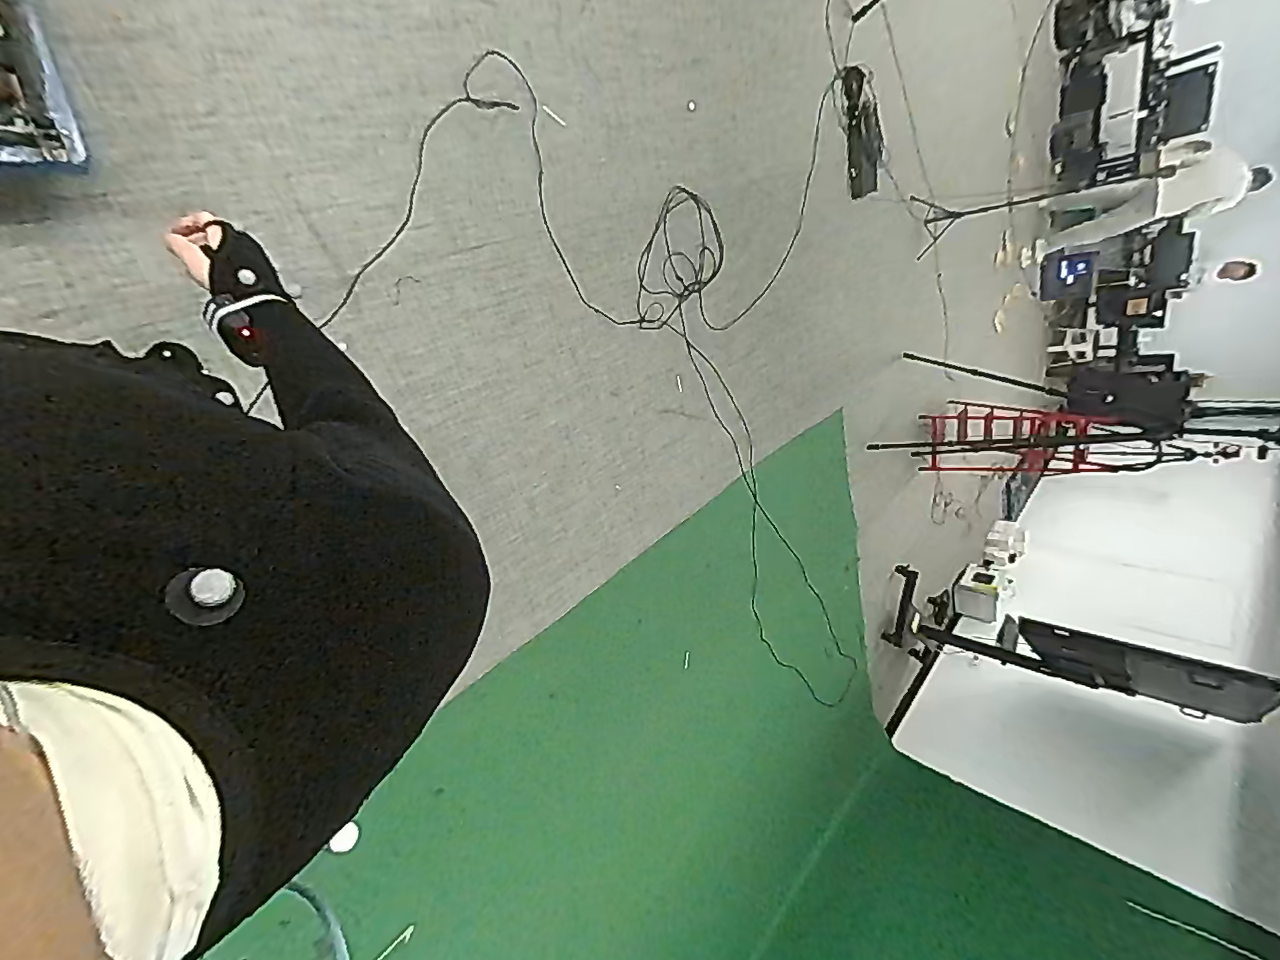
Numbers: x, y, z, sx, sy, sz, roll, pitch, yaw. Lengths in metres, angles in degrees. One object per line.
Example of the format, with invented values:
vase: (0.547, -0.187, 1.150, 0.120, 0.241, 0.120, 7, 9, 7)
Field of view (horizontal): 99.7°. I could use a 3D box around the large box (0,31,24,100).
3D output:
large box: (-1.107, -0.769, 0.676, 0.320, 0.320, 0.408, -25, 113, -39)
